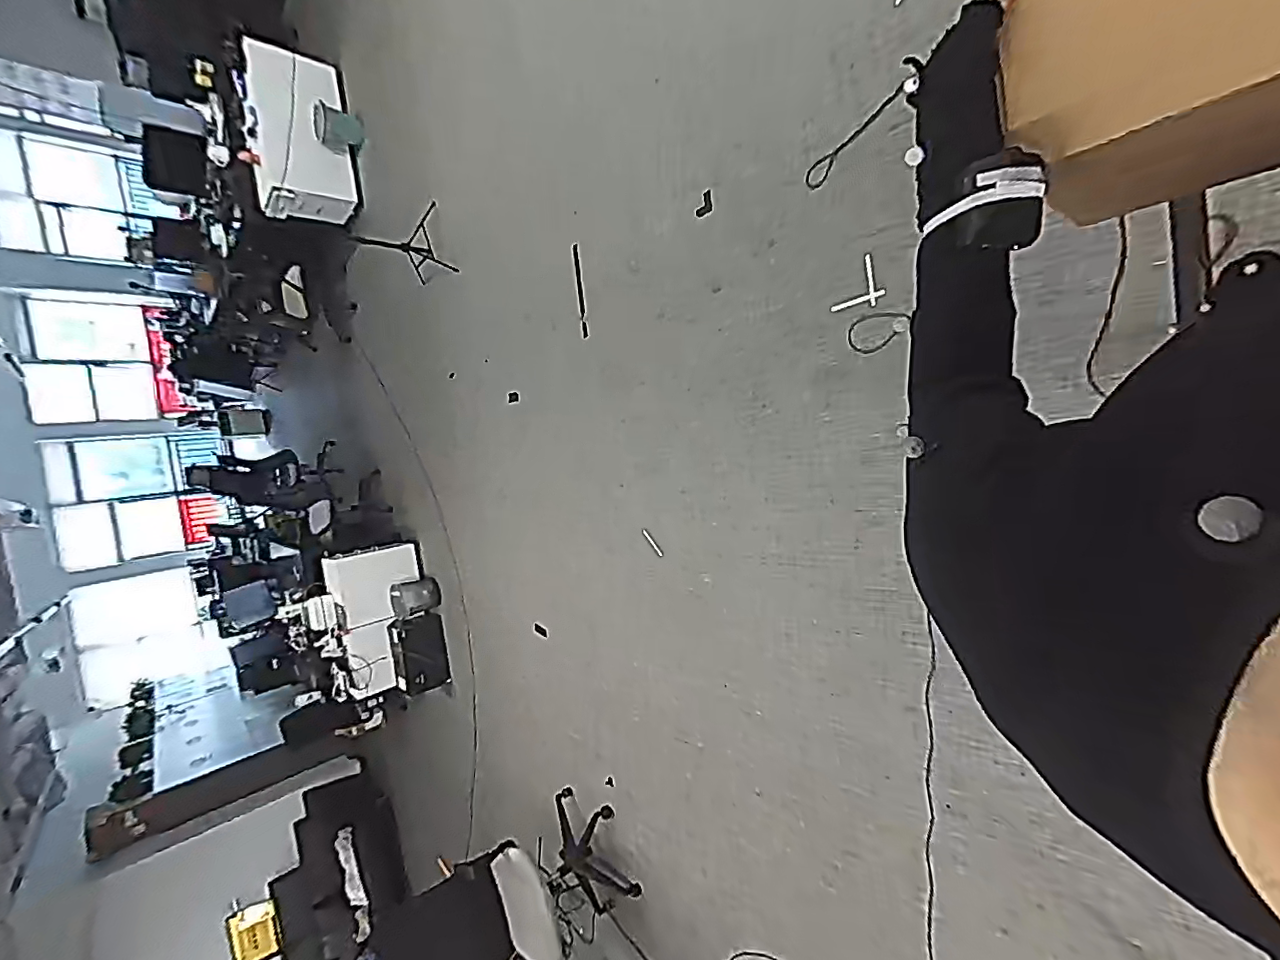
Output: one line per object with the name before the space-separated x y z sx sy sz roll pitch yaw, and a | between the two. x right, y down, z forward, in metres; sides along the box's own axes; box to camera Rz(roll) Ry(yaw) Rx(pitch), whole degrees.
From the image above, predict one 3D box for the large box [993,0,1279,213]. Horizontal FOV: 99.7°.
large box | 0.517 -0.447 0.385 0.408 0.320 0.320 -4 98 47
